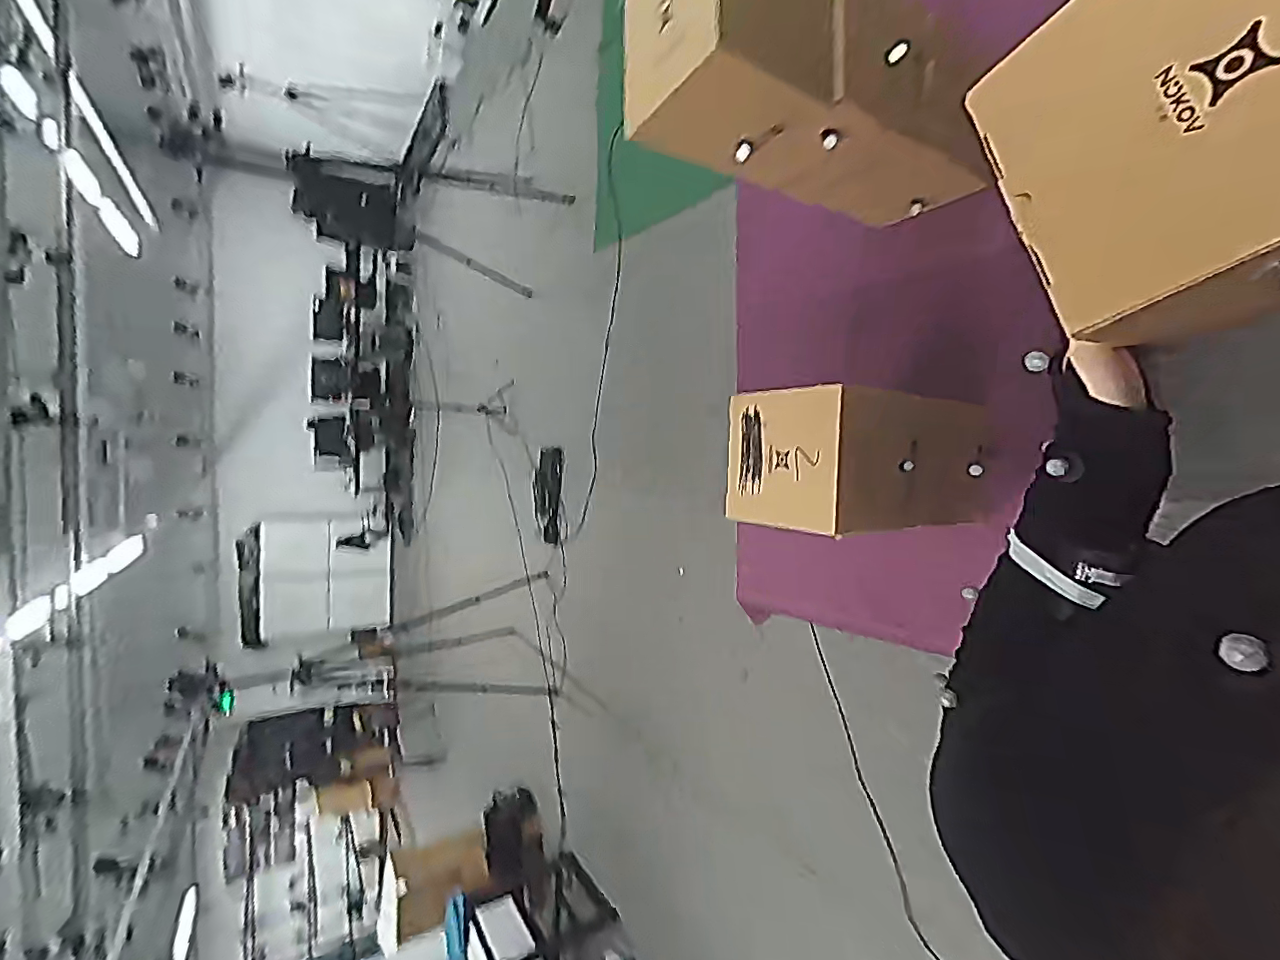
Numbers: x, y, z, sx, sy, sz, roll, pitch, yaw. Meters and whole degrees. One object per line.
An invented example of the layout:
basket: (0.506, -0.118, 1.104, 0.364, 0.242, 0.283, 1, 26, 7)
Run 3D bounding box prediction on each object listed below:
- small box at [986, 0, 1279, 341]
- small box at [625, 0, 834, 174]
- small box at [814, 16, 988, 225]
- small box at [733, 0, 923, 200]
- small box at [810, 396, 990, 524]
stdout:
small box: (0.334, -0.188, 0.283, 0.179, 0.176, 0.168, -30, 70, 55)
small box: (0.097, -0.483, 0.604, 0.168, 0.176, 0.179, 2, 93, 58)
small box: (0.374, -0.496, 0.780, 0.179, 0.176, 0.168, 2, 93, 56)
small box: (0.237, -0.489, 0.690, 0.179, 0.176, 0.168, 2, 92, 57)
small box: (0.376, -0.029, 0.791, 0.179, 0.176, 0.168, 5, 95, 56)
